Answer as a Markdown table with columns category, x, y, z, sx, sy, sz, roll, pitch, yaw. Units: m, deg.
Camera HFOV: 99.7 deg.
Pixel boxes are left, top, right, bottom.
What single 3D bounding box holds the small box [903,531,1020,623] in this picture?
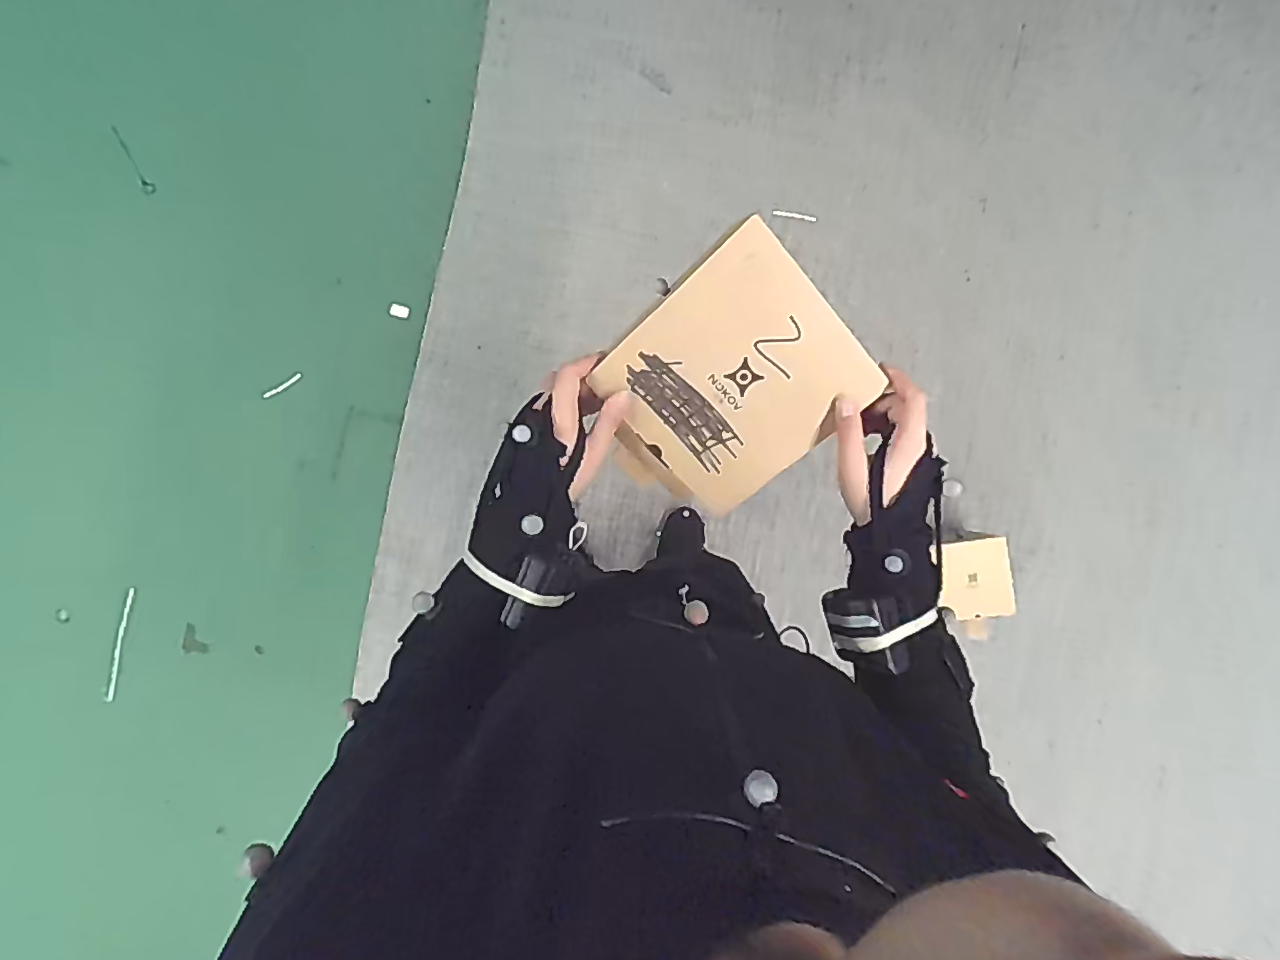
| category | x | y | z | sx | sy | sz | roll | pitch | yaw |
| --- | --- | --- | --- | --- | --- | --- | --- | --- | --- |
| small box | 0.734 | 0.215 | 1.254 | 0.168 | 0.176 | 0.179 | -9 | 91 | 3 |
